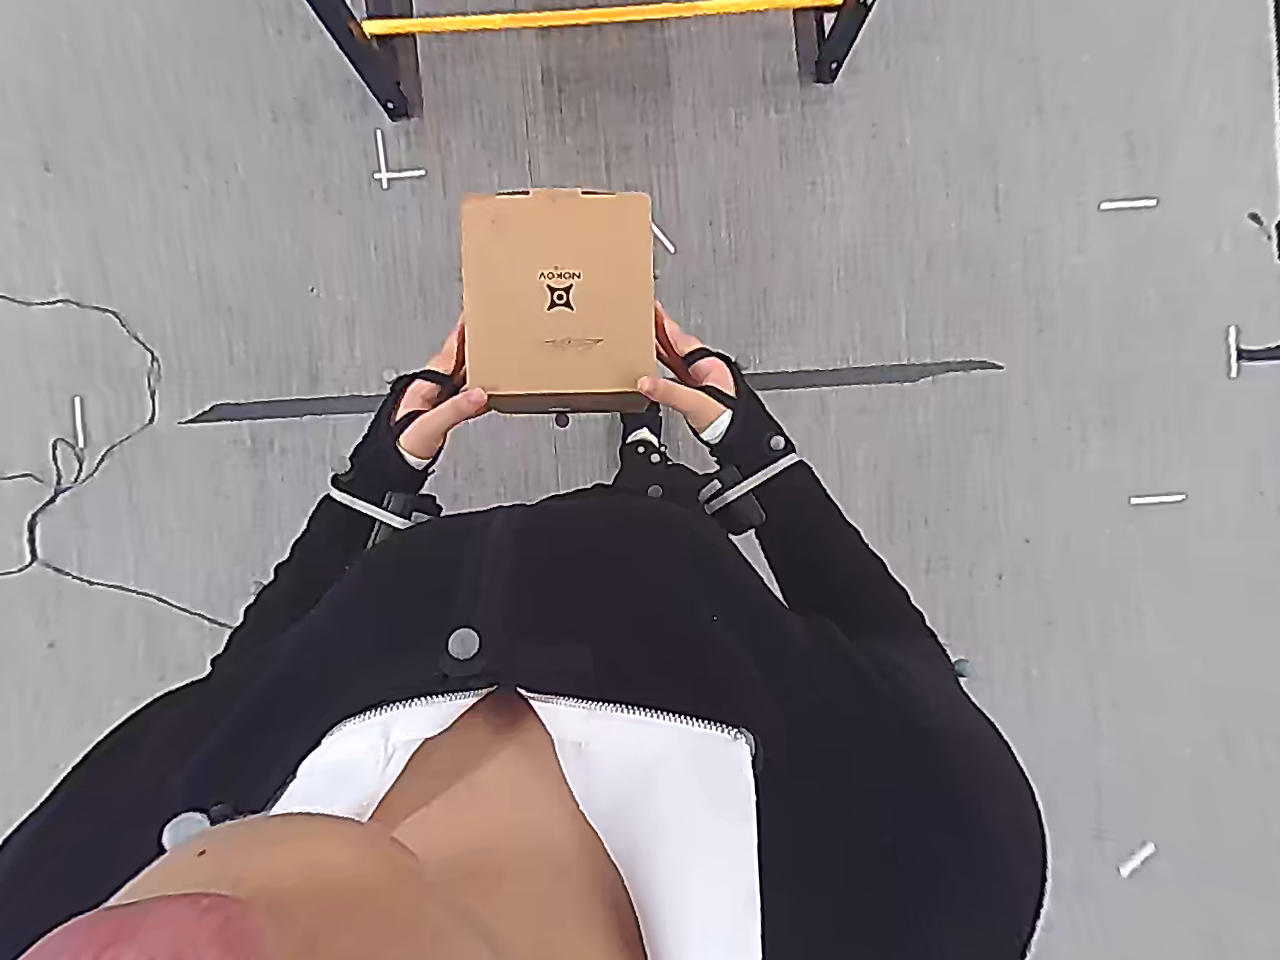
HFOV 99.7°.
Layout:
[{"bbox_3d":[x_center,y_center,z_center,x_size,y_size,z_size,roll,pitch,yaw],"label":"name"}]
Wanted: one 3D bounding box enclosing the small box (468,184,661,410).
[{"bbox_3d":[-0.070,-0.169,0.546,0.168,0.176,0.179,-2,91,-3],"label":"small box"}]
